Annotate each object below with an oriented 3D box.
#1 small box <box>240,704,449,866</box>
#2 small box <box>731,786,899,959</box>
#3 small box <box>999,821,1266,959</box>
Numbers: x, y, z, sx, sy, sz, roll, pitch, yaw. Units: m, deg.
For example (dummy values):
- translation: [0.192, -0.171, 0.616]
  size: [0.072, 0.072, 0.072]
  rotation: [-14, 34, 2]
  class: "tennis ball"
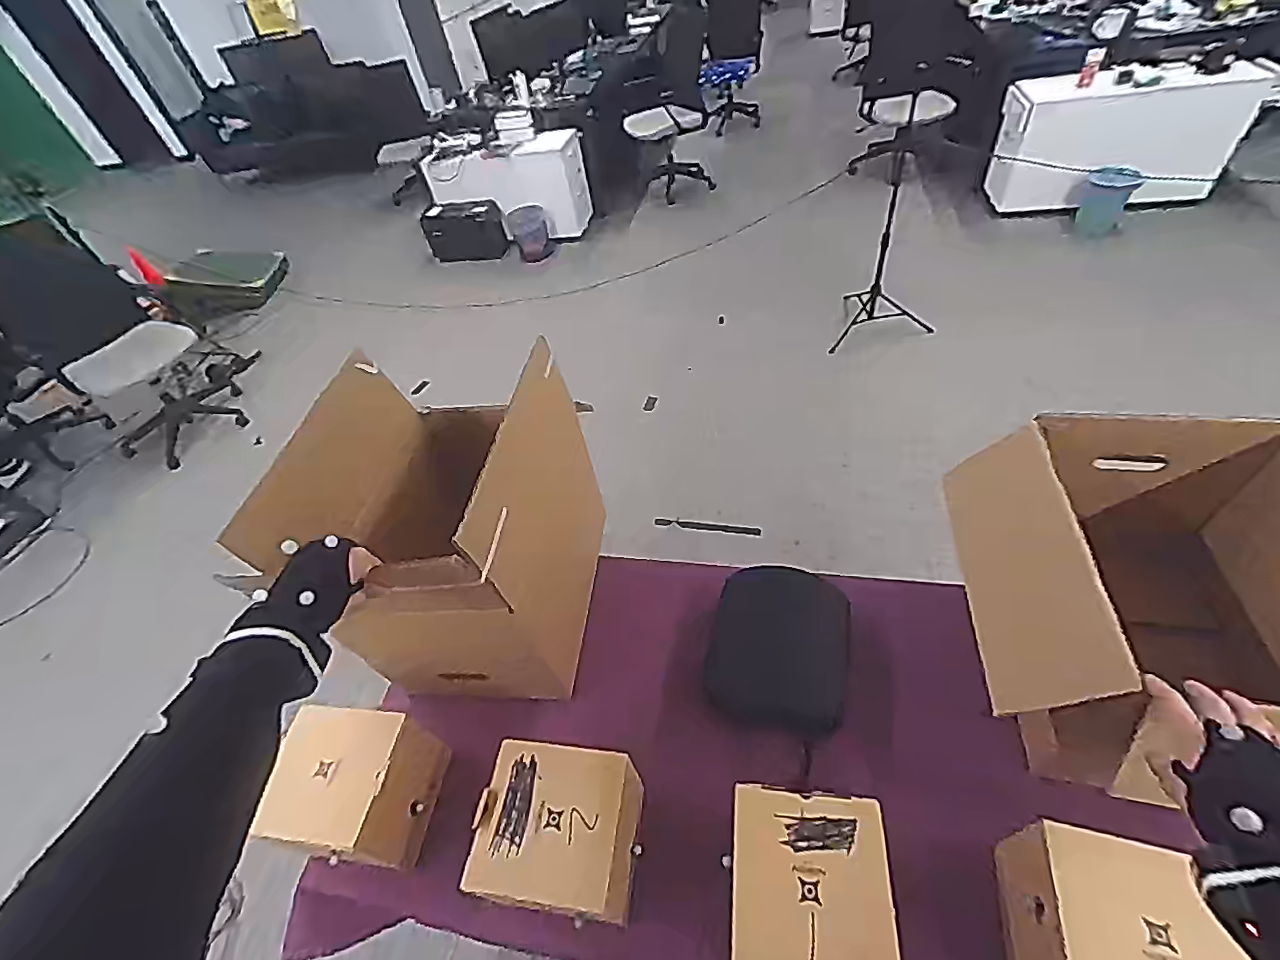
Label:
- translation: [-0.414, 0.448, 0.792]
  size: [0.179, 0.176, 0.168]
  rotation: [1, 48, 10]
  class: "small box"
- translation: [0.193, 0.487, 0.636]
  size: [0.168, 0.176, 0.179]
  rotation: [0, 48, 12]
  class: "small box"
- translation: [0.500, 0.495, 0.565]
  size: [0.168, 0.176, 0.179]
  rotation: [6, 49, 18]
  class: "small box"
